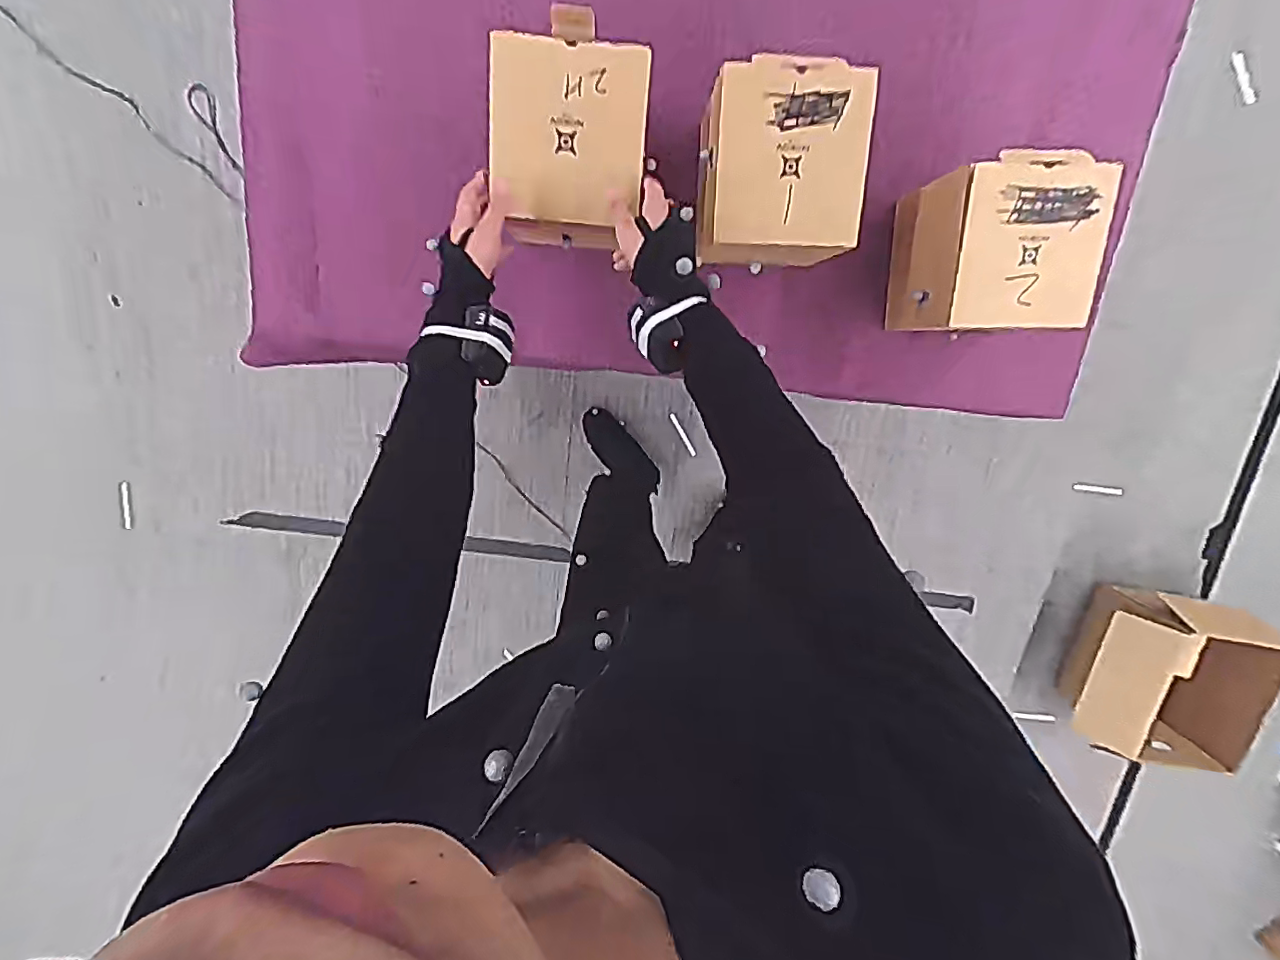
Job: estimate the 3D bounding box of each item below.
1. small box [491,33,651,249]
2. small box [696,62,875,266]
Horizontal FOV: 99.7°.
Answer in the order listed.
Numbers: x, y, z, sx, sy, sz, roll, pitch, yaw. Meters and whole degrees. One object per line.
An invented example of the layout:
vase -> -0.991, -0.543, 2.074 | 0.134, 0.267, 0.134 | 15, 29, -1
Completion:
small box -> -0.077, -0.390, 0.657 | 0.168, 0.176, 0.179 | 4, 104, -3
small box -> 0.164, -0.372, 0.668 | 0.168, 0.176, 0.179 | 1, 105, -2
